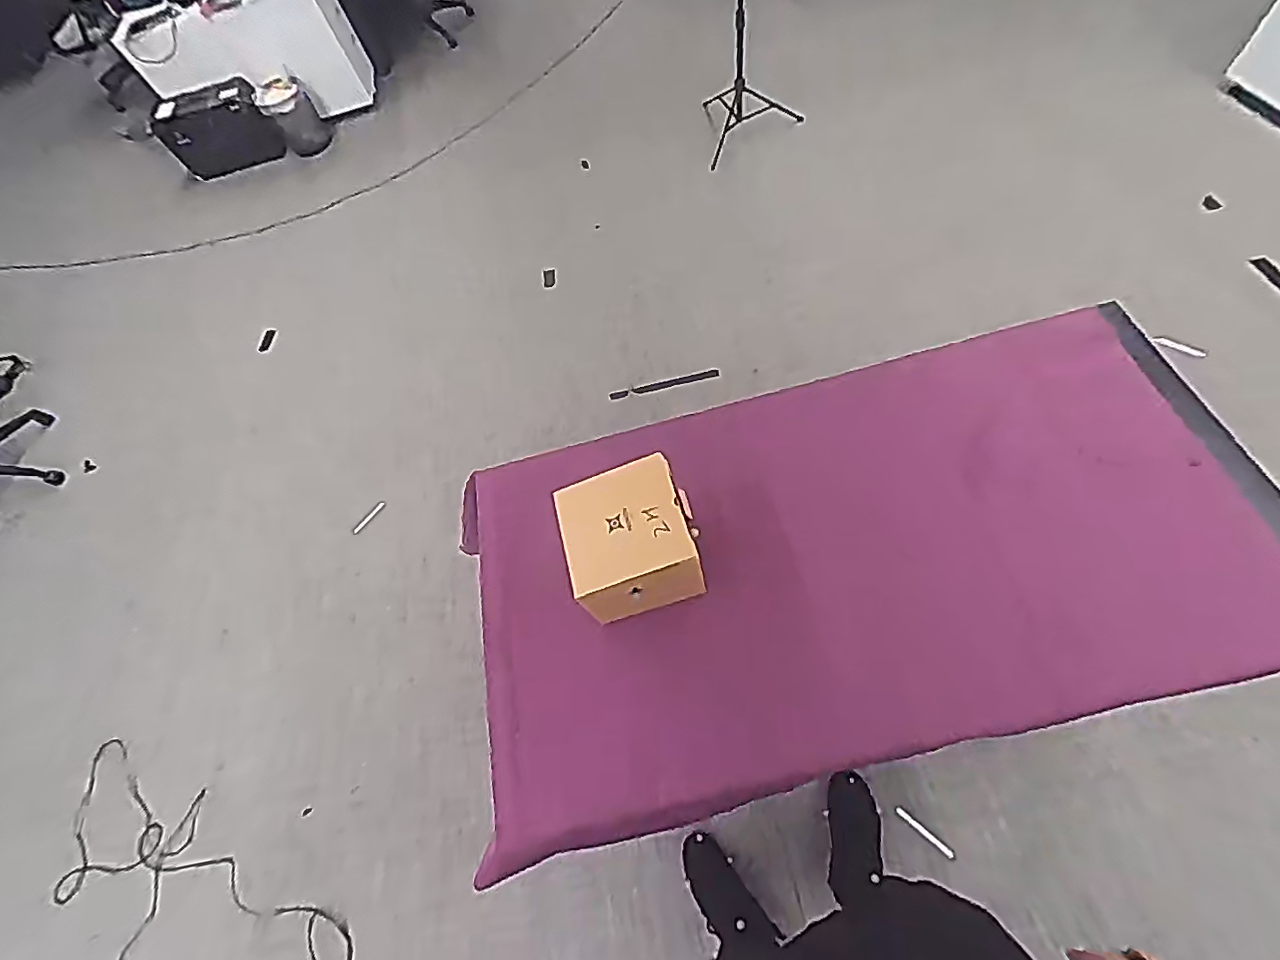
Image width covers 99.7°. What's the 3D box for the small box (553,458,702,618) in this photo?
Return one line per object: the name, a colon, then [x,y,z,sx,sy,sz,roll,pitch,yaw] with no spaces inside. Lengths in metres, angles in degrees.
small box: [-0.013,0.095,0.819,0.179,0.176,0.168,-17,63,1]
